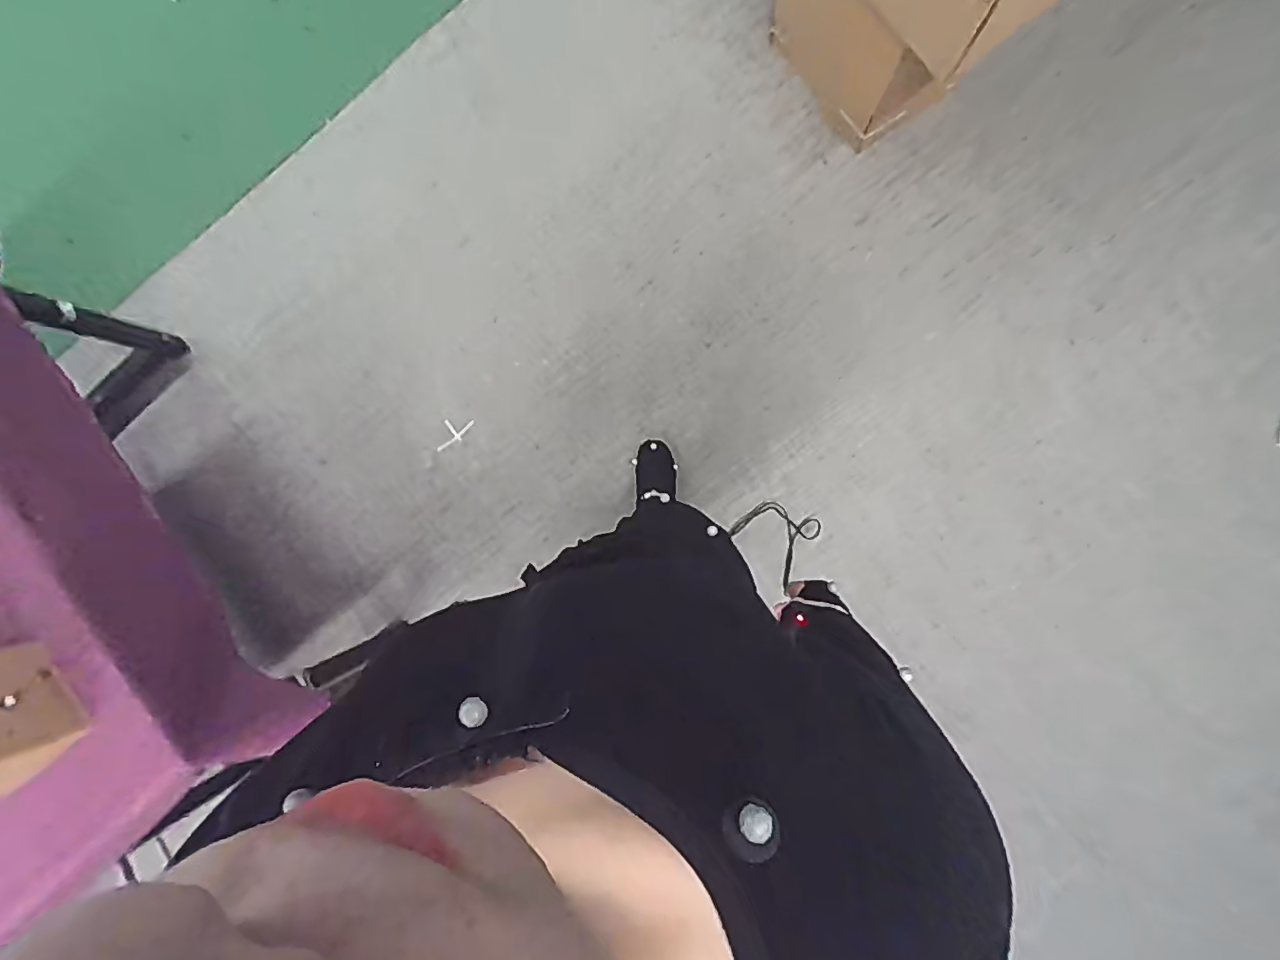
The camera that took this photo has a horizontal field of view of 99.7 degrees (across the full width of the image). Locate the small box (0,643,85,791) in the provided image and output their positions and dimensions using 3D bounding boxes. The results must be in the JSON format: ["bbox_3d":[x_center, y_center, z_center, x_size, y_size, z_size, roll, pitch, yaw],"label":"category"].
[{"bbox_3d":[-0.972,0.364,0.779,0.179,0.176,0.168,-38,85,5],"label":"small box"}]
